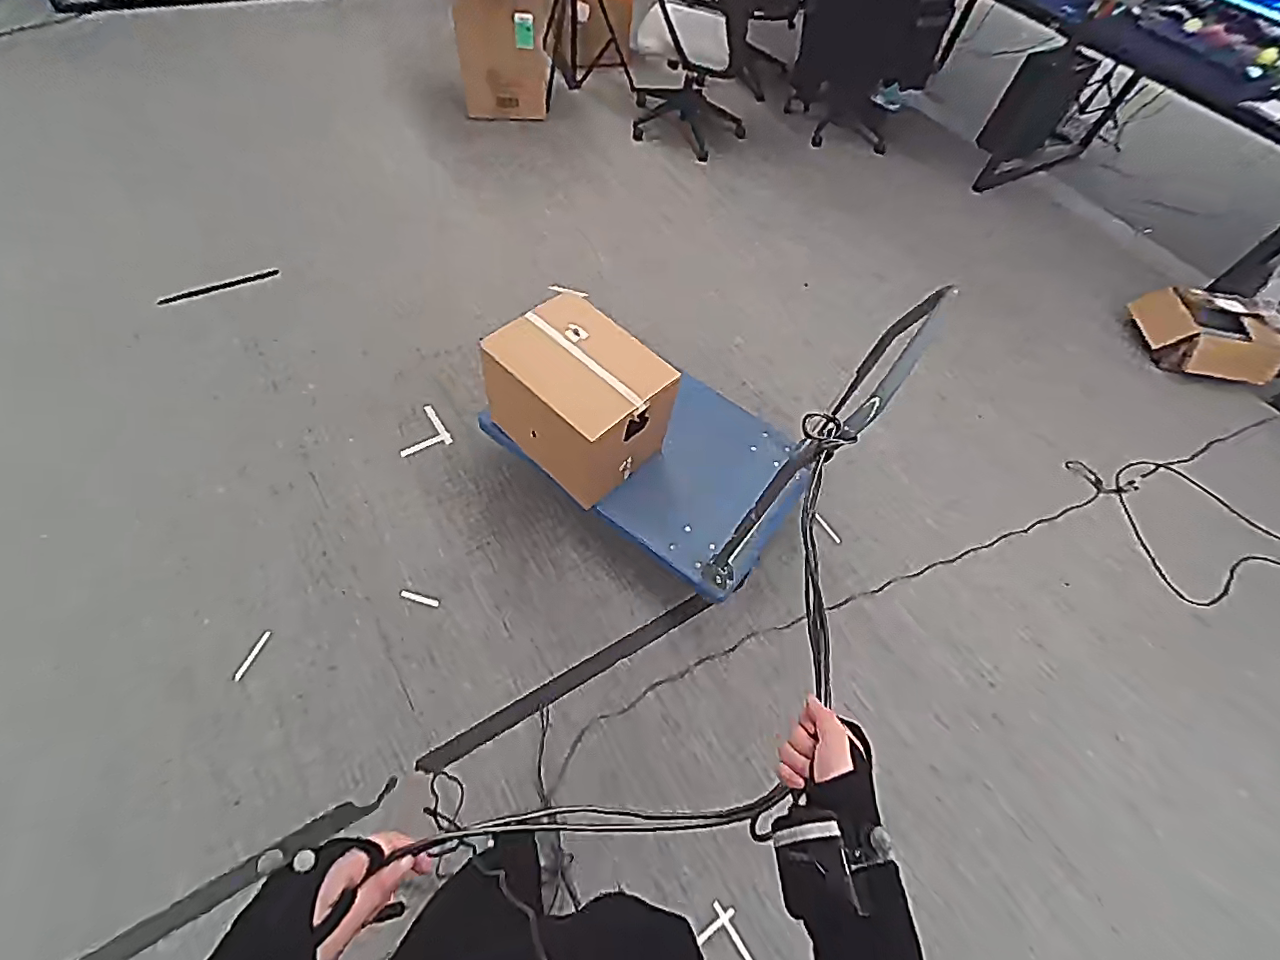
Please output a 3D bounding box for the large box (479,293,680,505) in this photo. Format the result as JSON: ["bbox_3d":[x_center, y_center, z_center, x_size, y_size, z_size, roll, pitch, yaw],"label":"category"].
[{"bbox_3d":[-0.158,-0.211,1.434,0.408,0.320,0.320,41,61,17],"label":"large box"}]
